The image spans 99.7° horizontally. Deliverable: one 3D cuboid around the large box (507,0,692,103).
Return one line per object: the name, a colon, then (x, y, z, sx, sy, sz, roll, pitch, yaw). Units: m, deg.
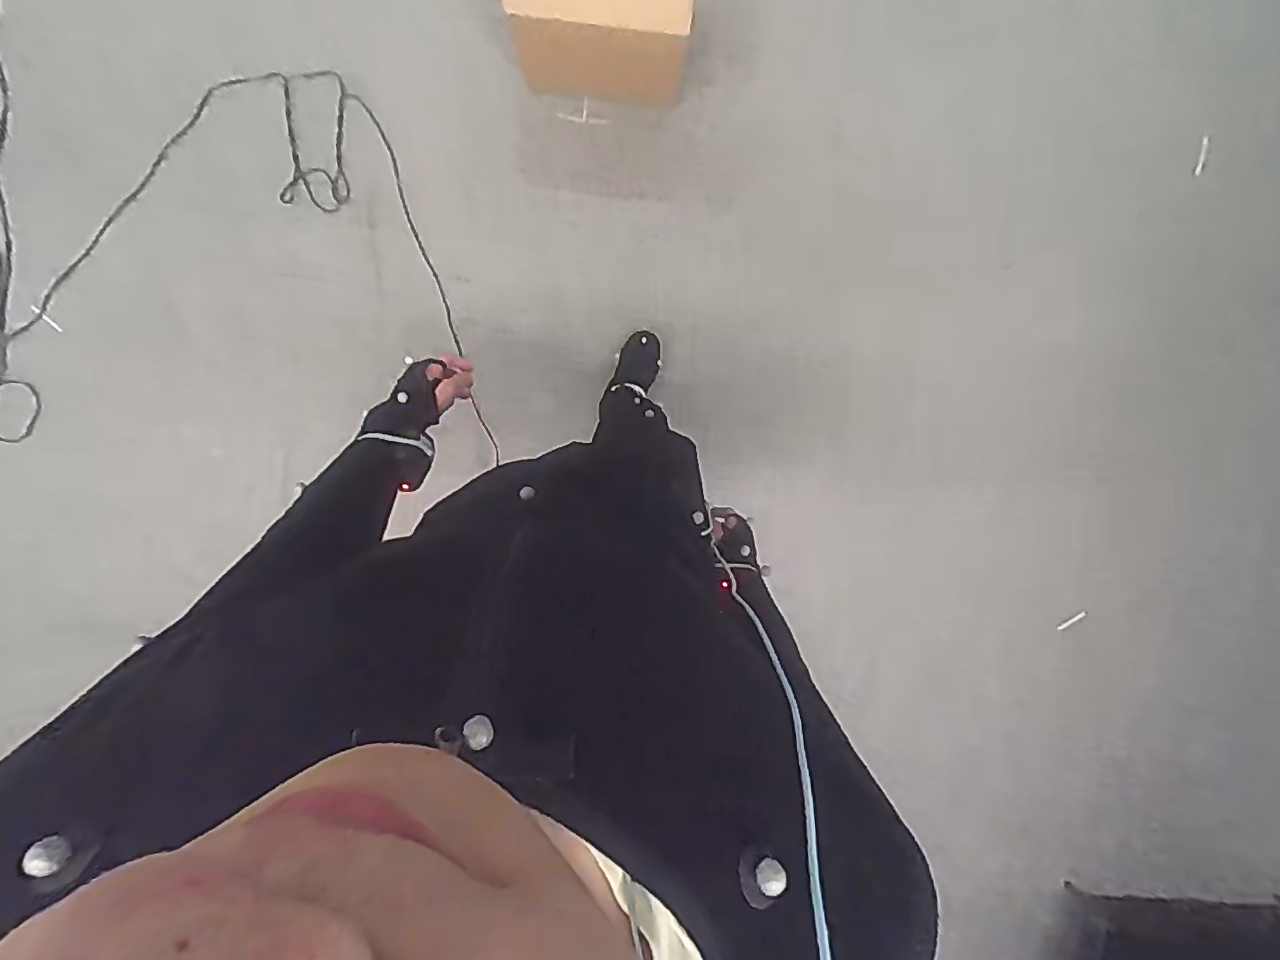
large box: (-0.088, -1.157, 1.286, 0.408, 0.320, 0.320, 4, 100, -4)
